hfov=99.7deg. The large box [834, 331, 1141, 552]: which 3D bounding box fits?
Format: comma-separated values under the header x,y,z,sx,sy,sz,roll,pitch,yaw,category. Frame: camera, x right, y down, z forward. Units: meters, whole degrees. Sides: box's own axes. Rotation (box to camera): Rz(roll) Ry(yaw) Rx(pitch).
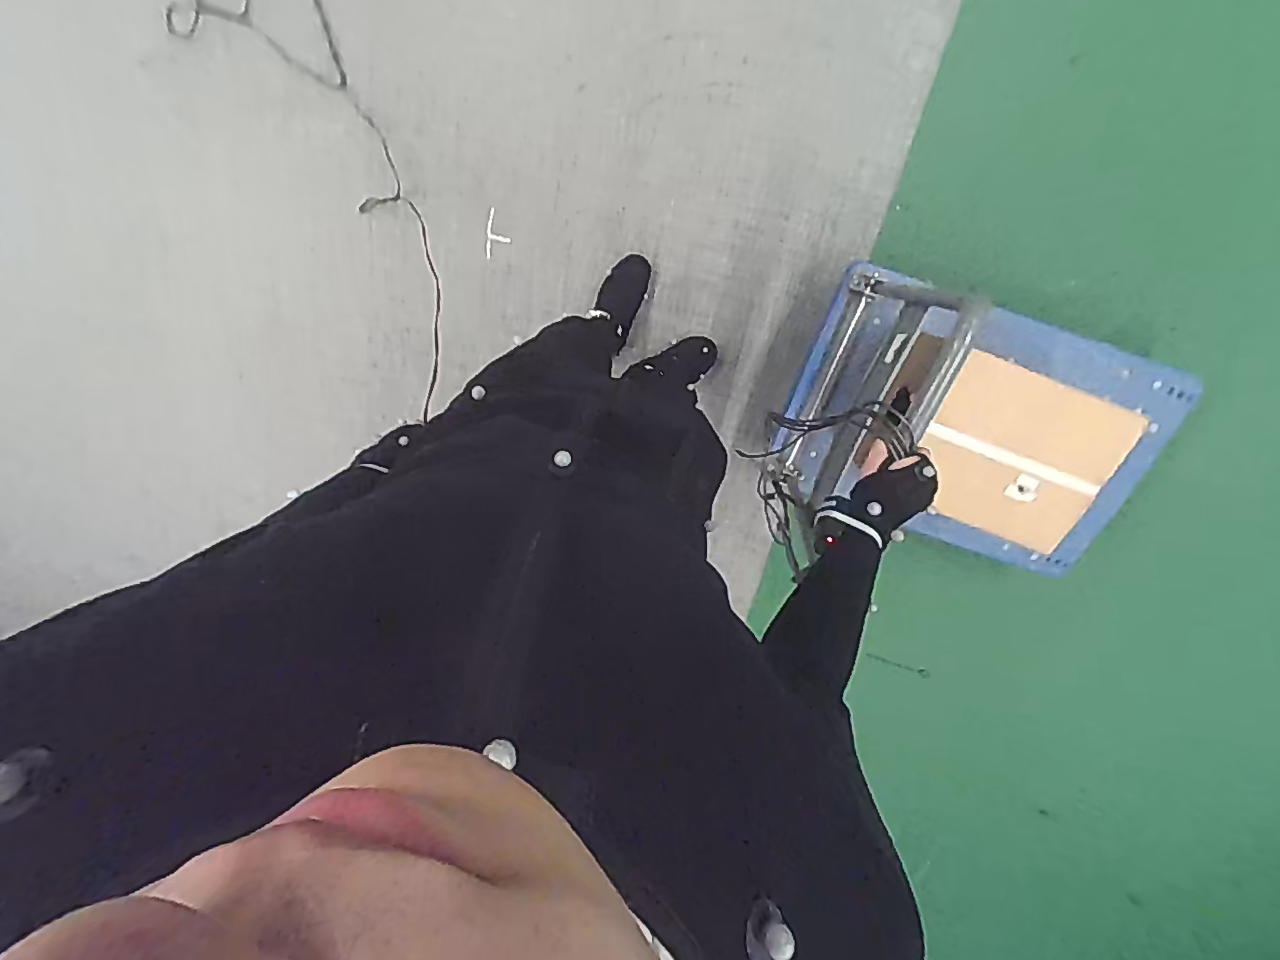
x,y,z,sx,sy,sz,roll,pitch,yaw,category
0.711,-0.101,1.191,0.408,0.320,0.320,21,113,-4,large box
